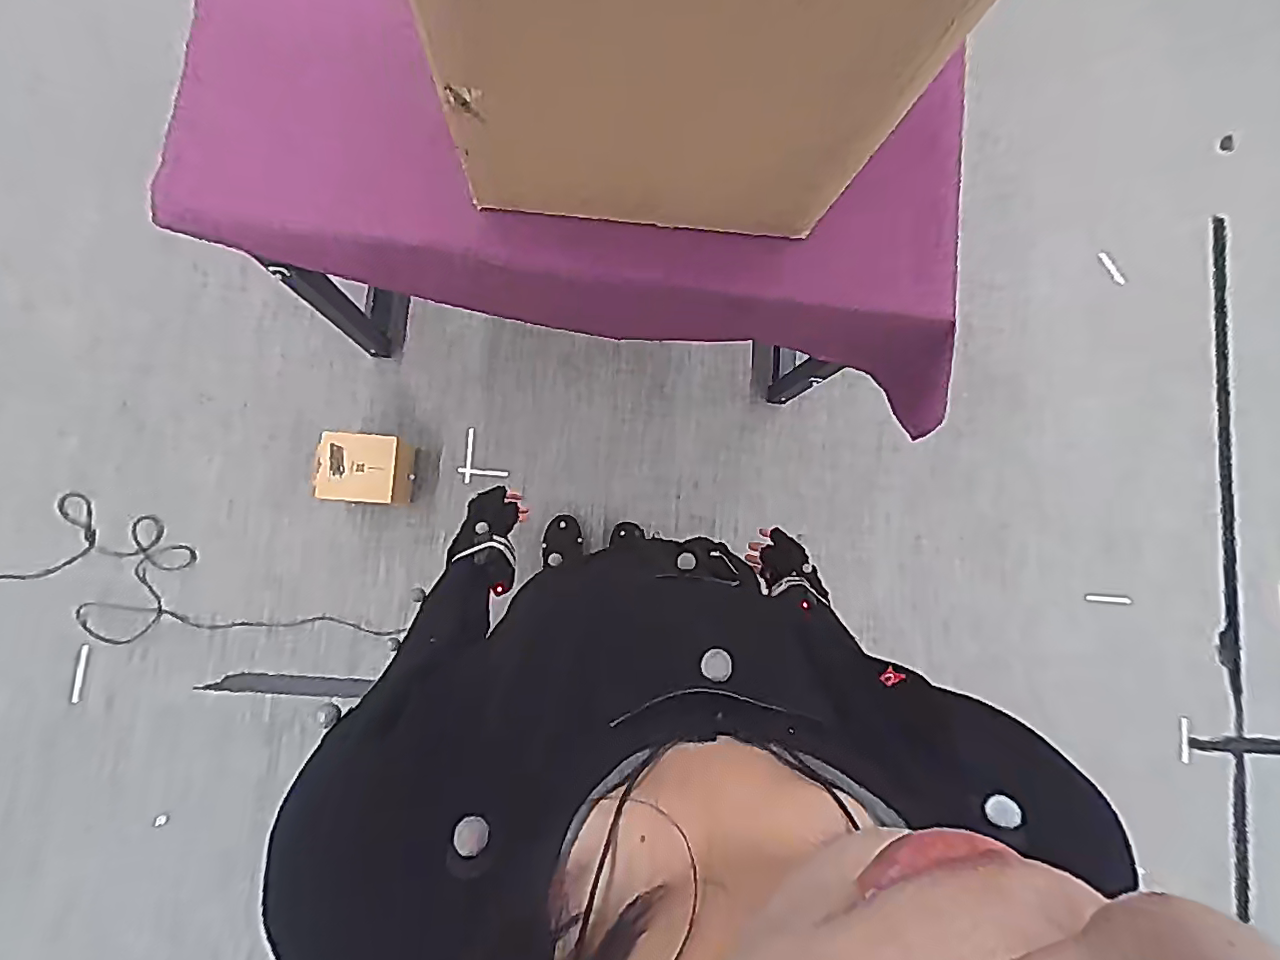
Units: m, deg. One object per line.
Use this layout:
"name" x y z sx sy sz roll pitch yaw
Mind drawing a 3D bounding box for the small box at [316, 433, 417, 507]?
"small box" -0.687 -0.019 1.375 0.179 0.176 0.168 4 85 -8
